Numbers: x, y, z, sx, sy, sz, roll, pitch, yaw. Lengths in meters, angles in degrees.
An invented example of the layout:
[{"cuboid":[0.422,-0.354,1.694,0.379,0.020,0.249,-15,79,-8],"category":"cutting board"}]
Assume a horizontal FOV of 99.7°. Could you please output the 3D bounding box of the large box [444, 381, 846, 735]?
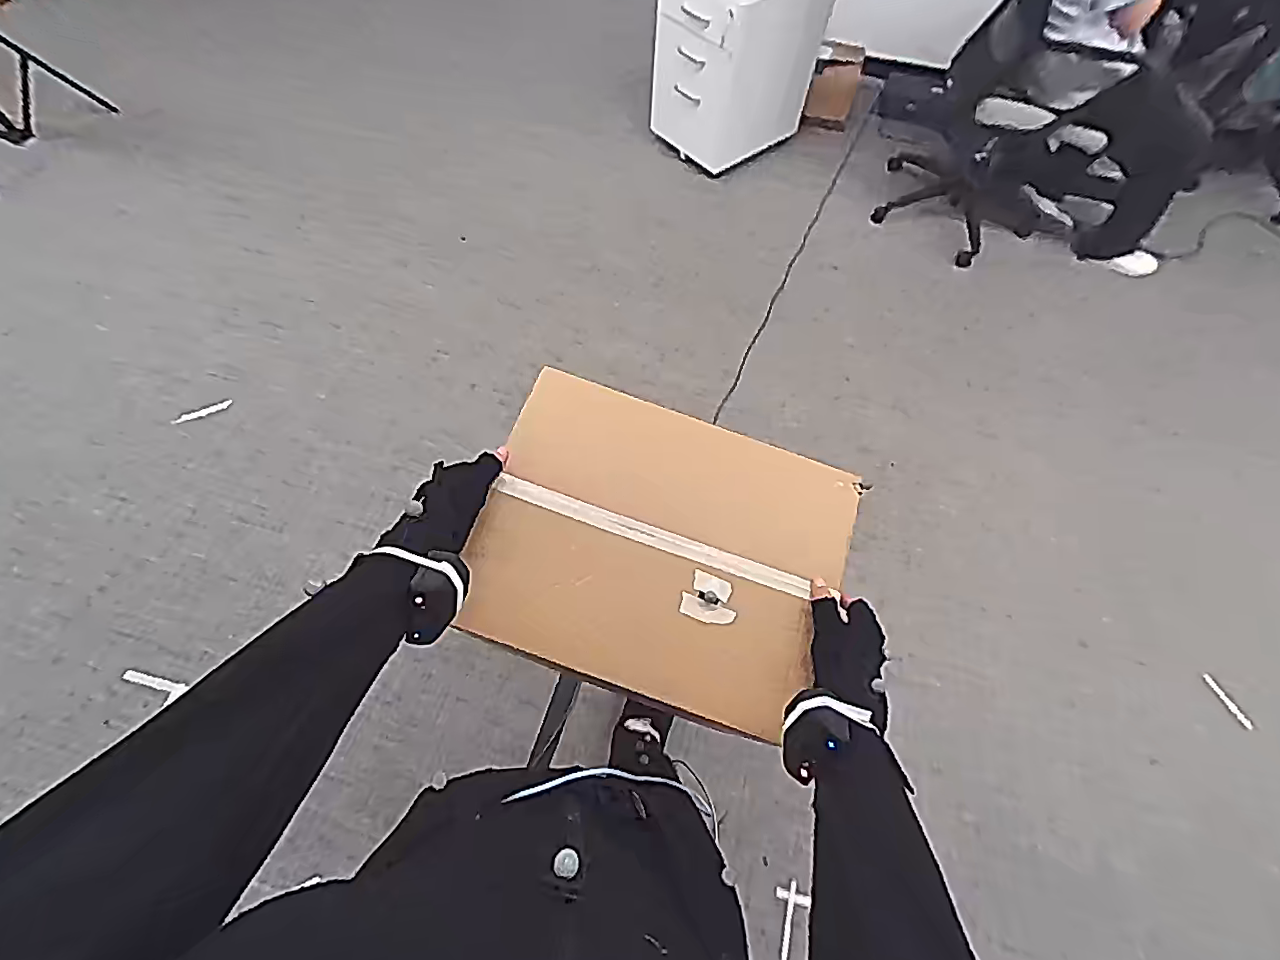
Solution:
[{"cuboid":[0.007,0.123,0.752,0.408,0.320,0.320,19,69,0],"category":"large box"}]
